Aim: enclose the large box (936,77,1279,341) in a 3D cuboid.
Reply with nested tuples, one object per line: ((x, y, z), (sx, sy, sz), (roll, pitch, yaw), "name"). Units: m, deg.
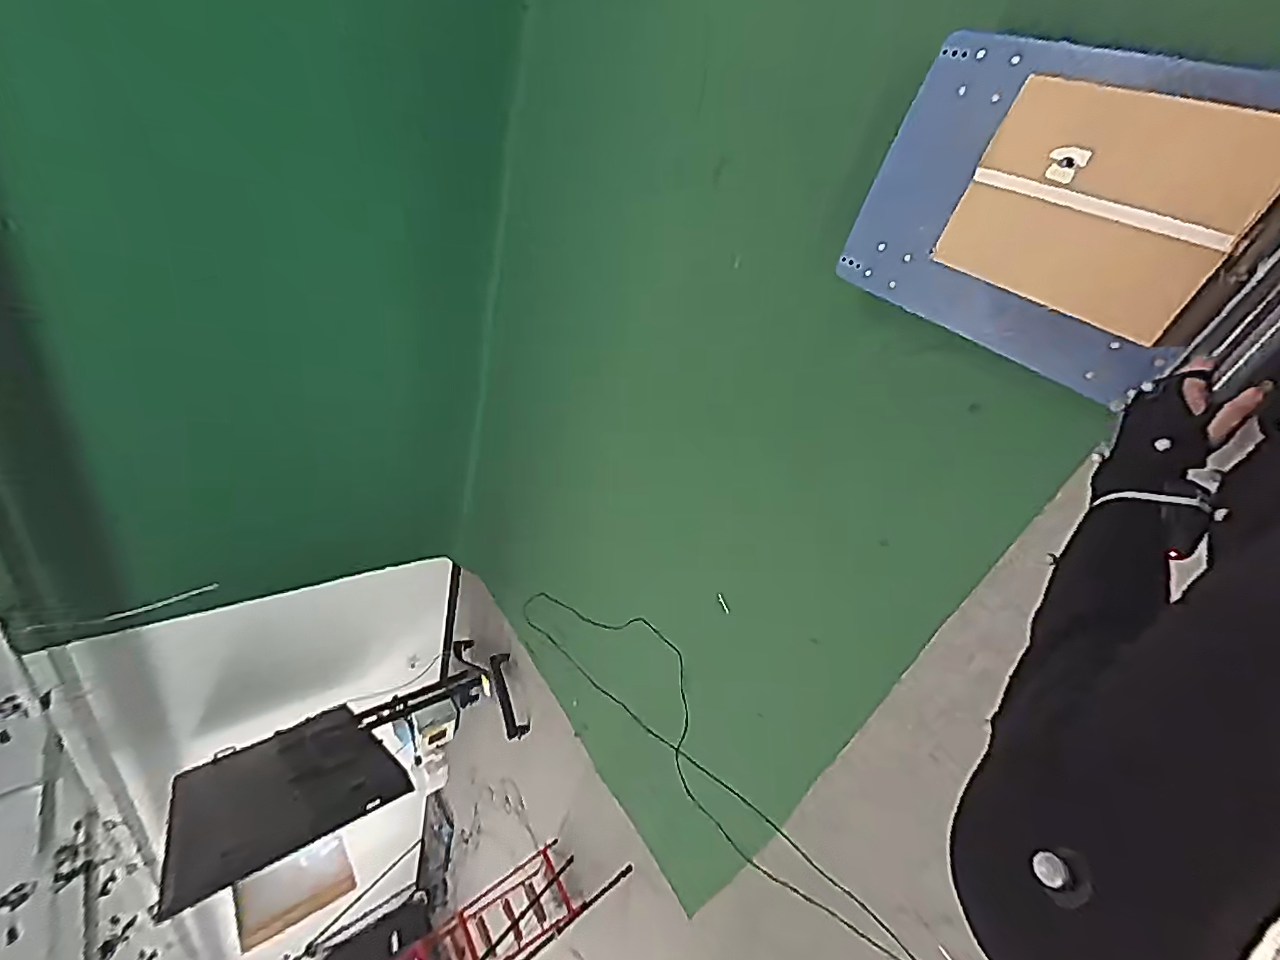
((0.862, -0.476, 0.980), (0.408, 0.320, 0.320), (46, 131, 35), "large box")
